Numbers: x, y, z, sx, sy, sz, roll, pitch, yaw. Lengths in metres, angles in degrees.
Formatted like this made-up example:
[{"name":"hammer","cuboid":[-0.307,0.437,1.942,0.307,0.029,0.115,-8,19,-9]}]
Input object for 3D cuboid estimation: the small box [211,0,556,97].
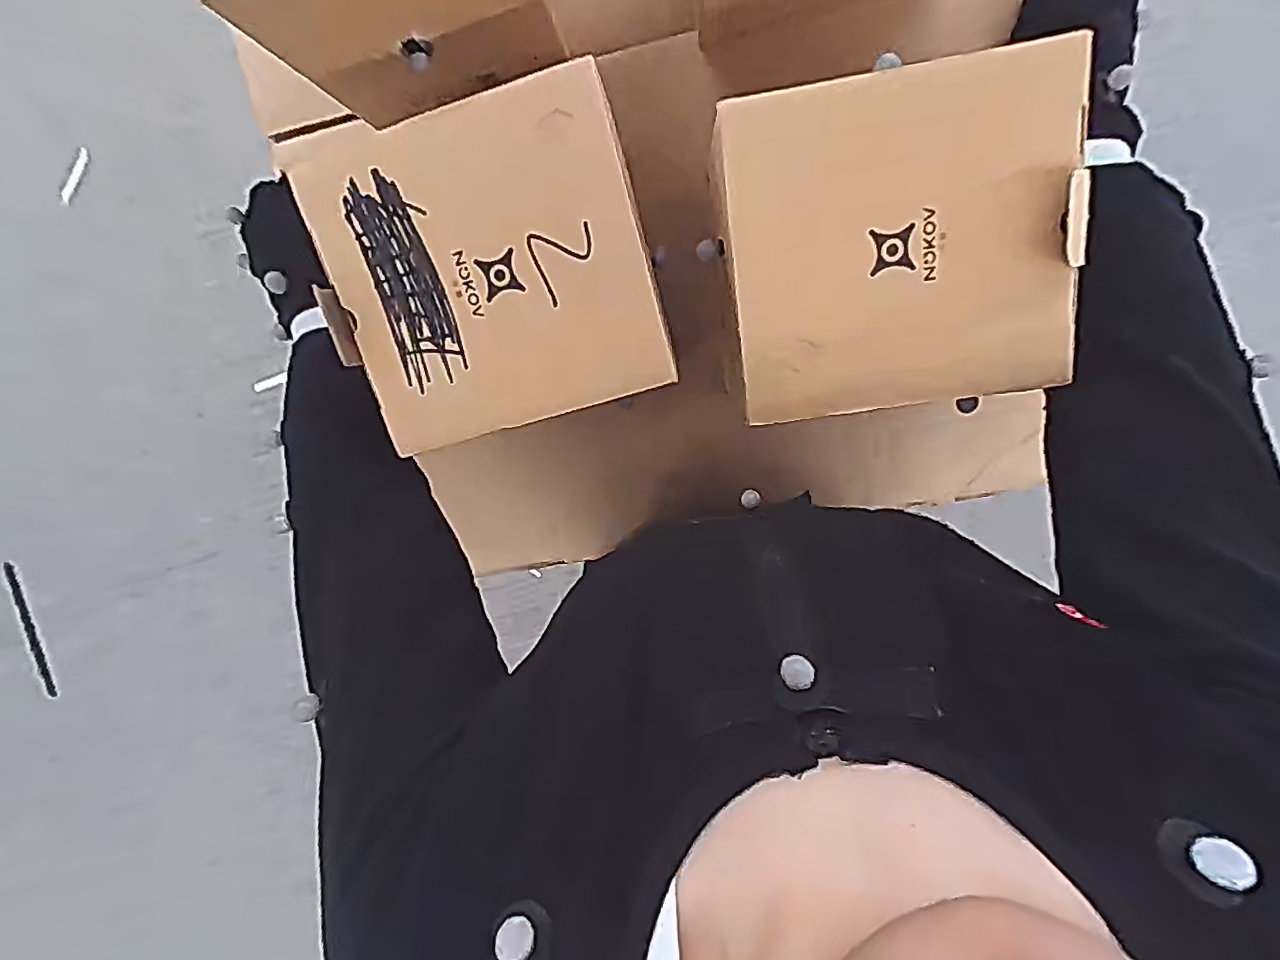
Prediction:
[{"name":"small box","cuboid":[-0.161,-0.367,0.324,0.168,0.176,0.179,-11,103,7]}]
